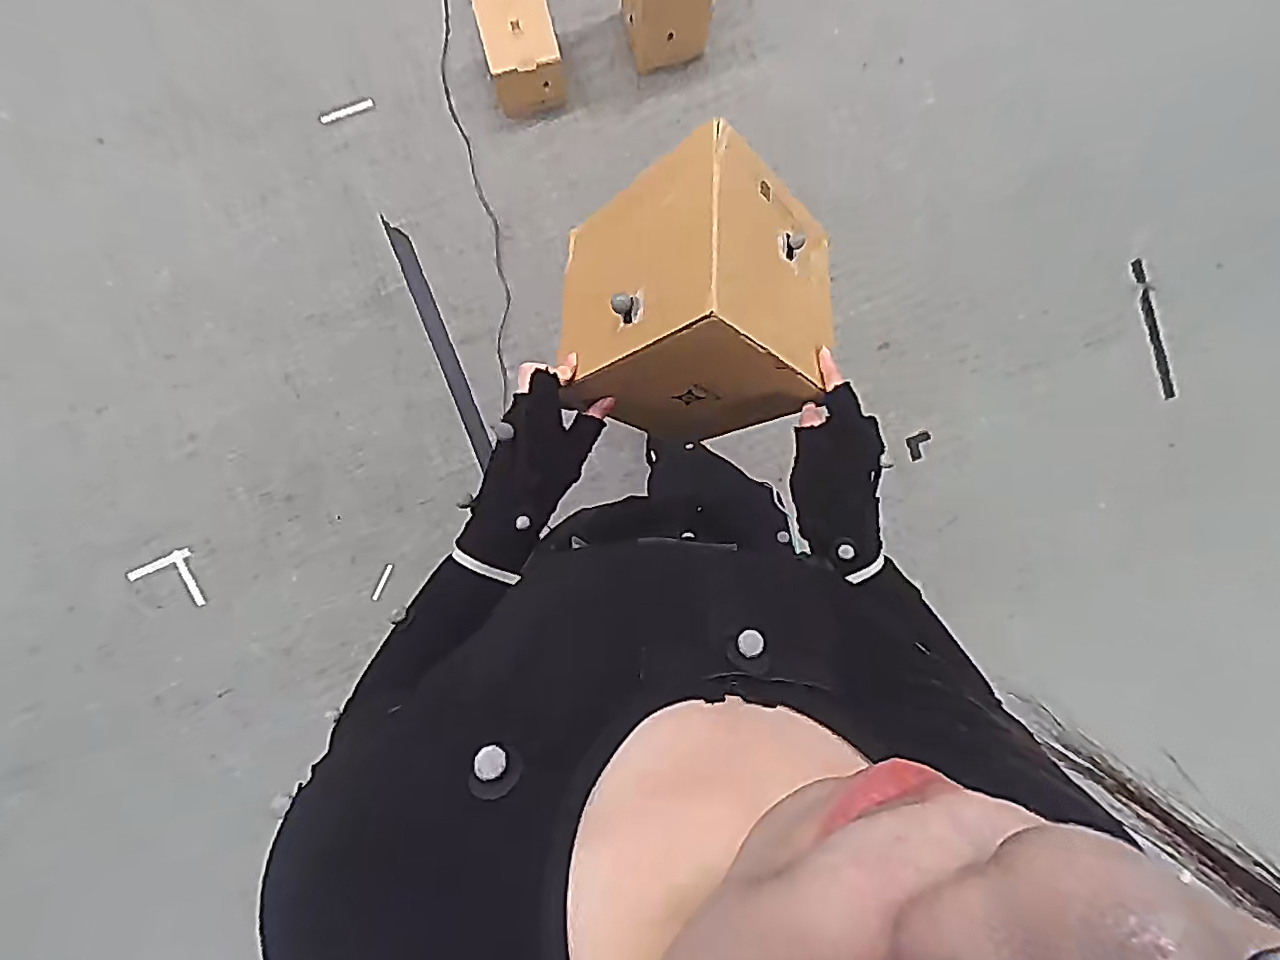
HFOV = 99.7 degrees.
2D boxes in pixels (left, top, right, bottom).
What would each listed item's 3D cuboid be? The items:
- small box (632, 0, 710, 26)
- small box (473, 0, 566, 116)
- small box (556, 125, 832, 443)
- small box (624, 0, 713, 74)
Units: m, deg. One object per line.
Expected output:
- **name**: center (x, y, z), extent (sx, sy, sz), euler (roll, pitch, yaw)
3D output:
- **small box**: center (0.060, -1.117, 1.144), extent (0.179, 0.176, 0.168), euler (-16, 95, -2)
- **small box**: center (-0.282, -1.017, 1.304), extent (0.168, 0.176, 0.179), euler (-15, 94, -2)
- **small box**: center (0.049, -0.151, 0.477), extent (0.168, 0.179, 0.176), euler (18, 66, -41)
- **small box**: center (0.061, -1.134, 1.309), extent (0.179, 0.176, 0.168), euler (-18, 95, -1)
